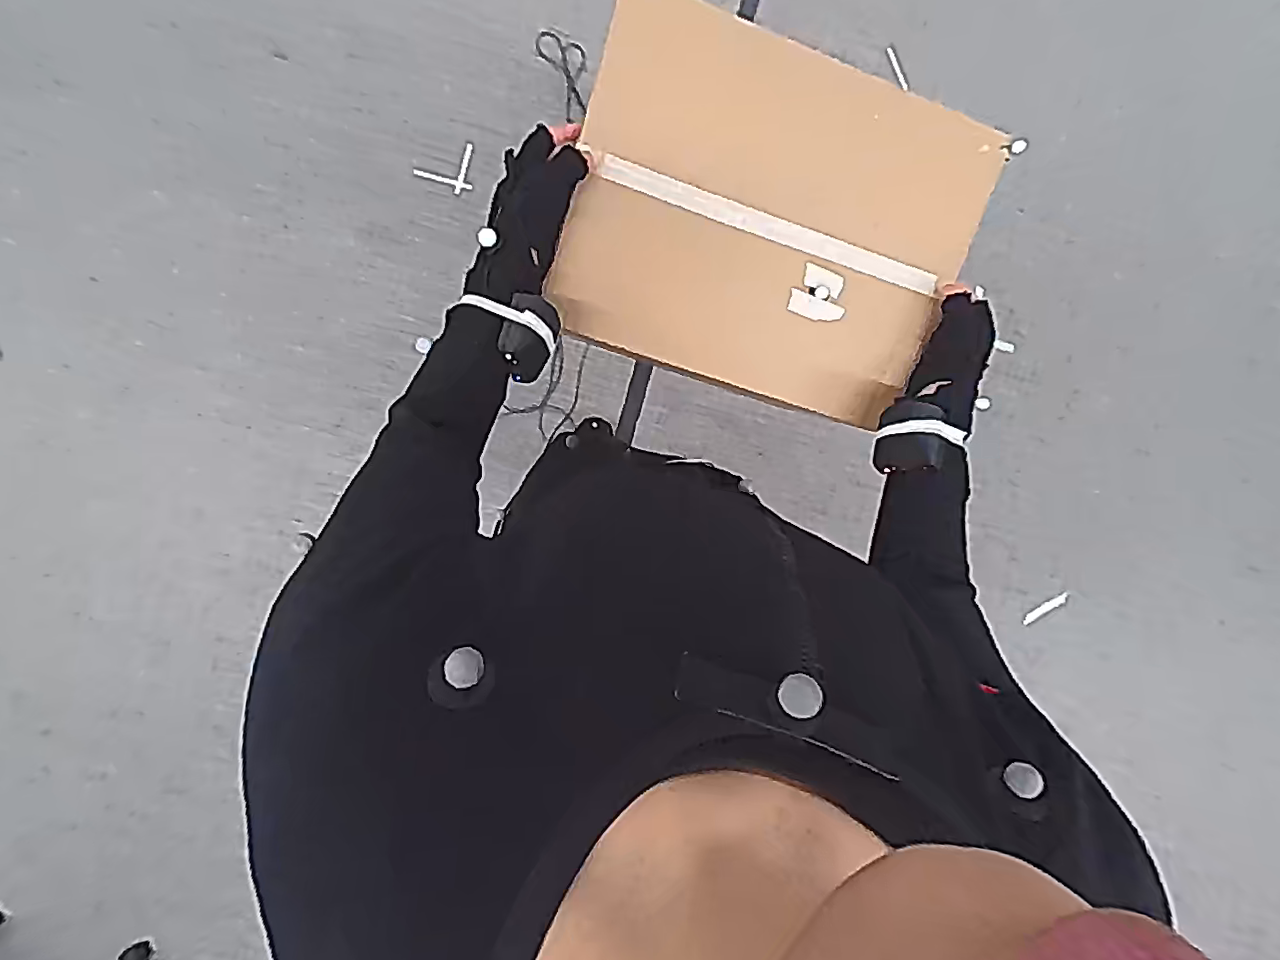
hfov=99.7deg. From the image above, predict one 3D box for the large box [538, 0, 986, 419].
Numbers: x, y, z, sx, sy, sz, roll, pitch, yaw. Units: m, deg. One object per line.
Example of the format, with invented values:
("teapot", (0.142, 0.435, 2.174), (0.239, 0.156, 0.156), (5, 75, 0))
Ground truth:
("large box", (0.109, -0.294, 0.695), (0.408, 0.320, 0.320), (16, 103, -9))
